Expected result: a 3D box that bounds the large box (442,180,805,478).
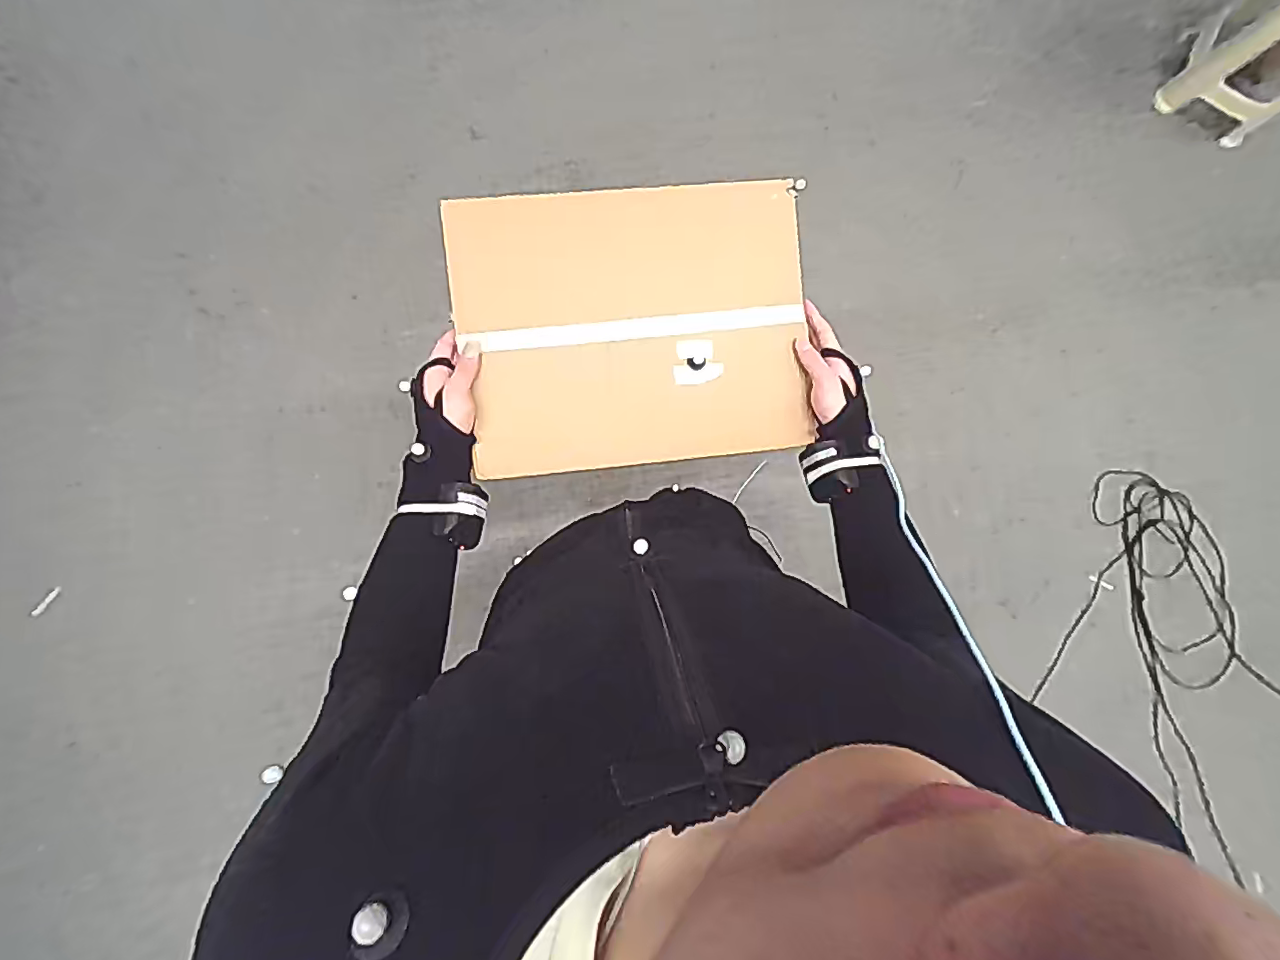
[{"bbox_3d":[-0.026,-0.188,0.785,0.408,0.320,0.320,-7,95,-5],"label":"large box"}]
